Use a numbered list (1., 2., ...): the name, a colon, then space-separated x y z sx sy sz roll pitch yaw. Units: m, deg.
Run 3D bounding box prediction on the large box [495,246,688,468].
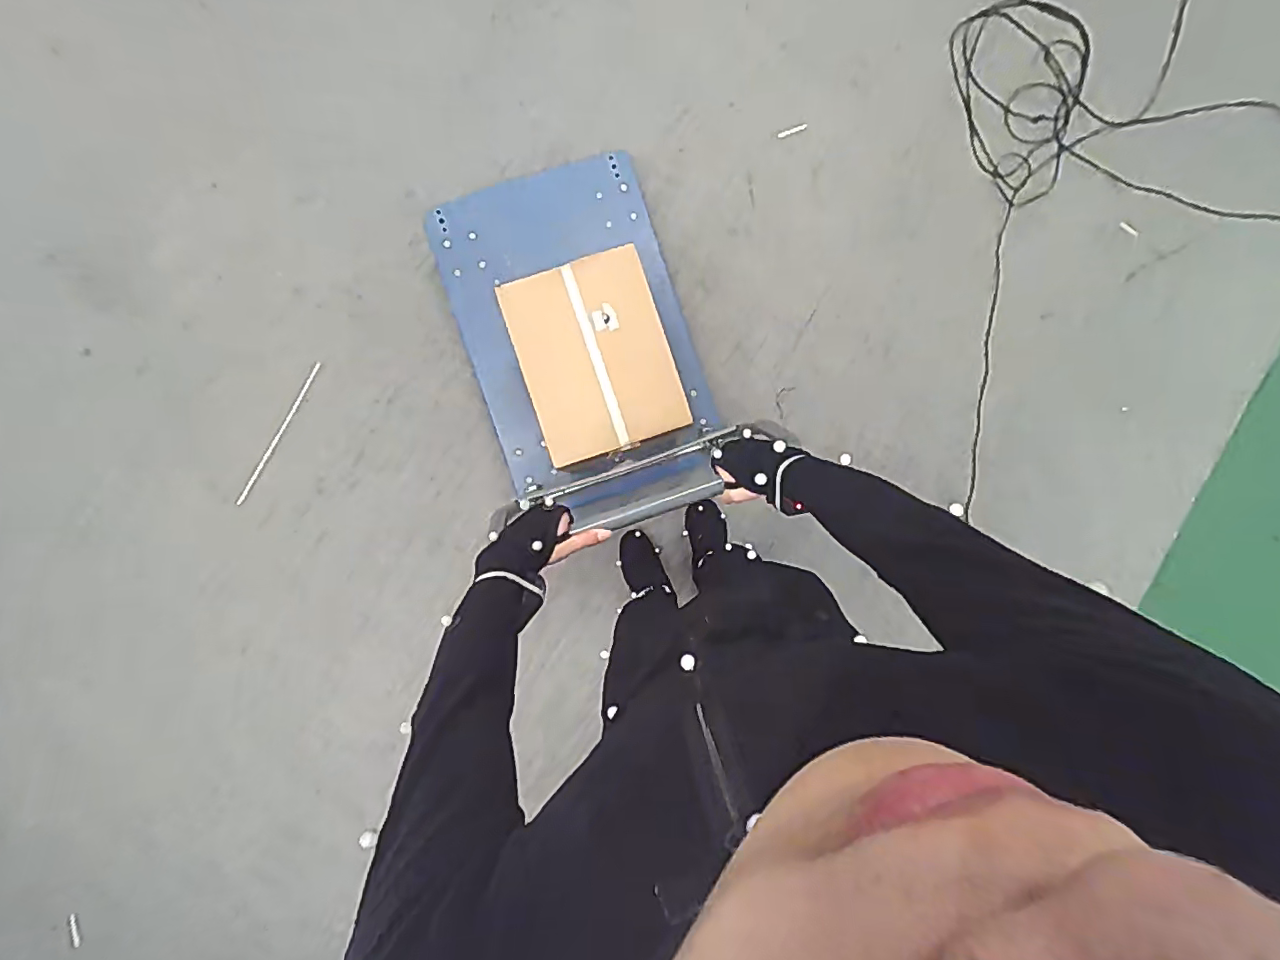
1. large box: -0.106 -0.267 1.303 0.320 0.320 0.408 -19 90 -3
